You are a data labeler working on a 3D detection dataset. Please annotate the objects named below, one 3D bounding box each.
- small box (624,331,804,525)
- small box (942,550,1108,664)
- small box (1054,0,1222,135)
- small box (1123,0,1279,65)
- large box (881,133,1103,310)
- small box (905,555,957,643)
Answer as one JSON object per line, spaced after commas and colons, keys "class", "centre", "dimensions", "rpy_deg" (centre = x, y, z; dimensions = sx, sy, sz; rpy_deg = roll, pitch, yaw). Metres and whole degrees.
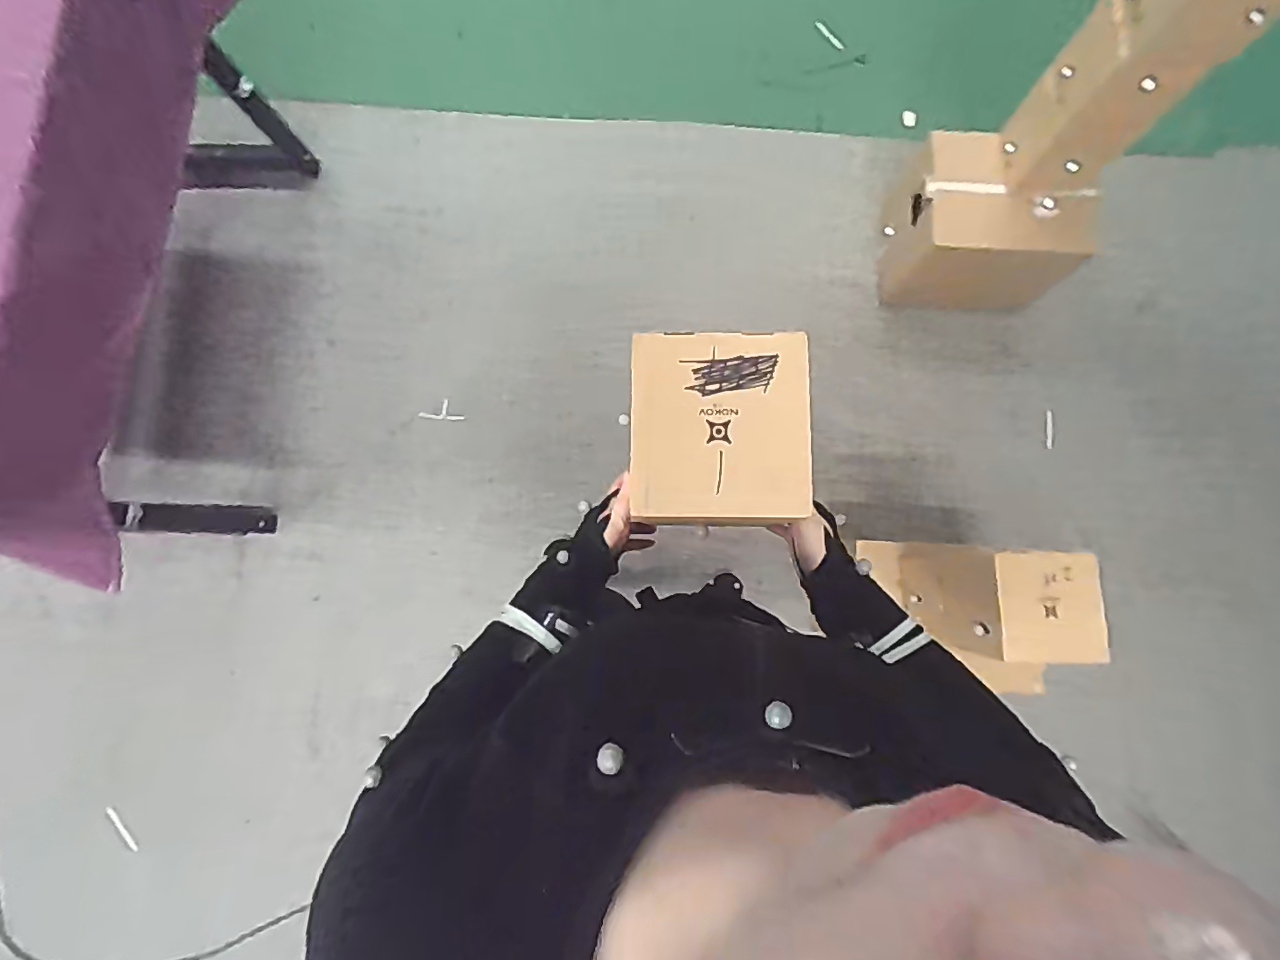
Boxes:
{"class": "small box", "centre": [0.069, -0.044, 0.578], "dimensions": [0.168, 0.176, 0.179], "rpy_deg": [0, 83, 2]}
{"class": "small box", "centre": [0.650, 0.212, 0.935], "dimensions": [0.168, 0.176, 0.179], "rpy_deg": [1, 80, 1]}
{"class": "small box", "centre": [0.968, -0.815, 1.067], "dimensions": [0.179, 0.176, 0.168], "rpy_deg": [3, 79, 3]}
{"class": "small box", "centre": [0.970, -0.840, 0.905], "dimensions": [0.179, 0.176, 0.168], "rpy_deg": [5, 79, 4]}
{"class": "large box", "centre": [0.915, -0.677, 1.460], "dimensions": [0.408, 0.320, 0.320], "rpy_deg": [4, 82, 1]}
{"class": "small box", "centre": [0.658, 0.240, 1.099], "dimensions": [0.179, 0.176, 0.168], "rpy_deg": [0, 81, 2]}
